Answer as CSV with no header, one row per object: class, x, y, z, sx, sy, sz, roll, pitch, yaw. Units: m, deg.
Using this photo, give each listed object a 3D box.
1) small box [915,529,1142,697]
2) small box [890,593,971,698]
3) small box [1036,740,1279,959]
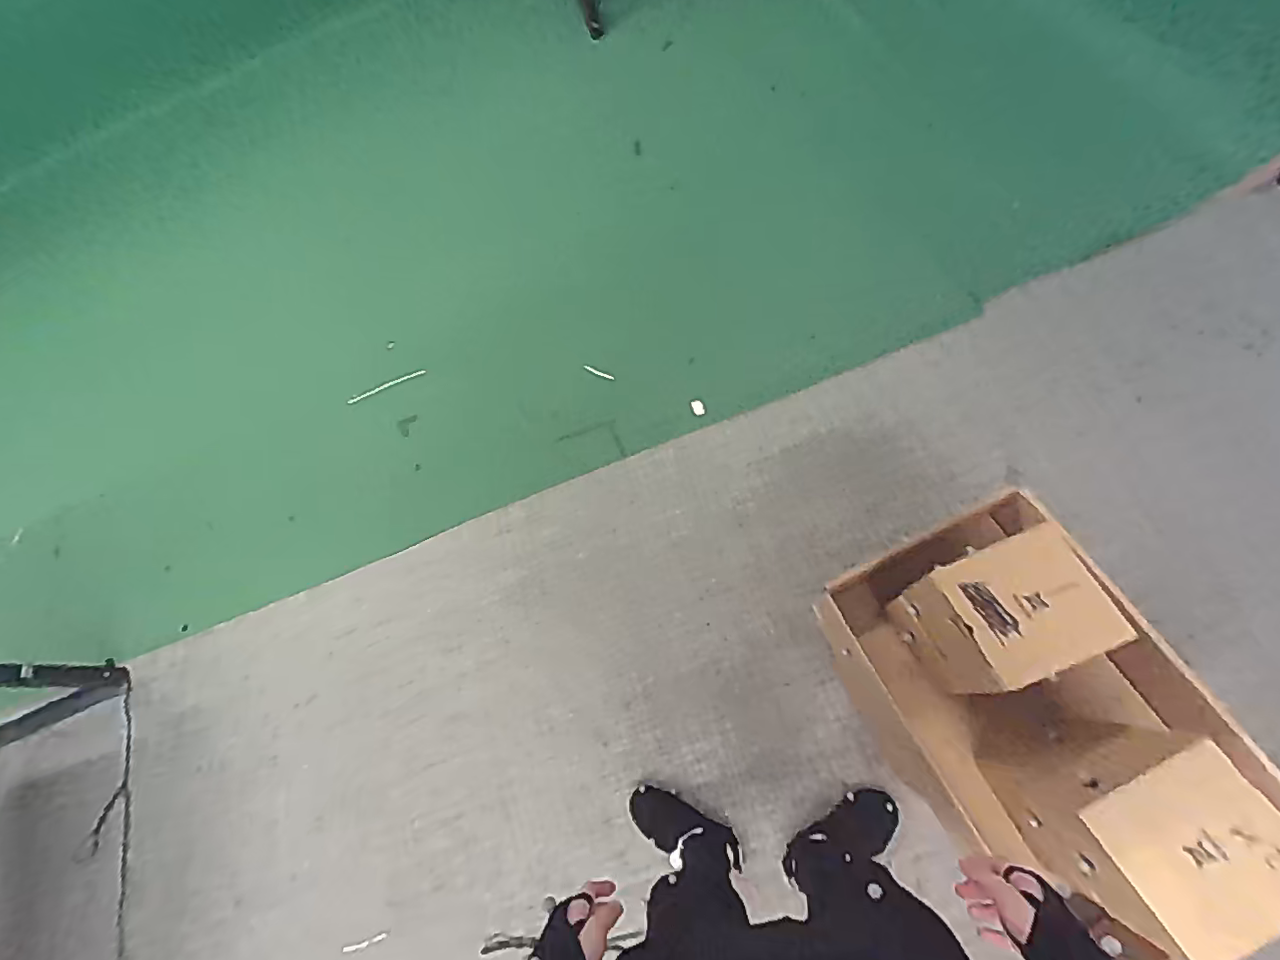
small box,0.516,0.196,0.760,0.179,0.176,0.168,-23,66,1
small box,0.548,0.254,0.909,0.179,0.176,0.168,-27,65,0
small box,0.619,0.433,0.642,0.179,0.176,0.168,-30,66,0
